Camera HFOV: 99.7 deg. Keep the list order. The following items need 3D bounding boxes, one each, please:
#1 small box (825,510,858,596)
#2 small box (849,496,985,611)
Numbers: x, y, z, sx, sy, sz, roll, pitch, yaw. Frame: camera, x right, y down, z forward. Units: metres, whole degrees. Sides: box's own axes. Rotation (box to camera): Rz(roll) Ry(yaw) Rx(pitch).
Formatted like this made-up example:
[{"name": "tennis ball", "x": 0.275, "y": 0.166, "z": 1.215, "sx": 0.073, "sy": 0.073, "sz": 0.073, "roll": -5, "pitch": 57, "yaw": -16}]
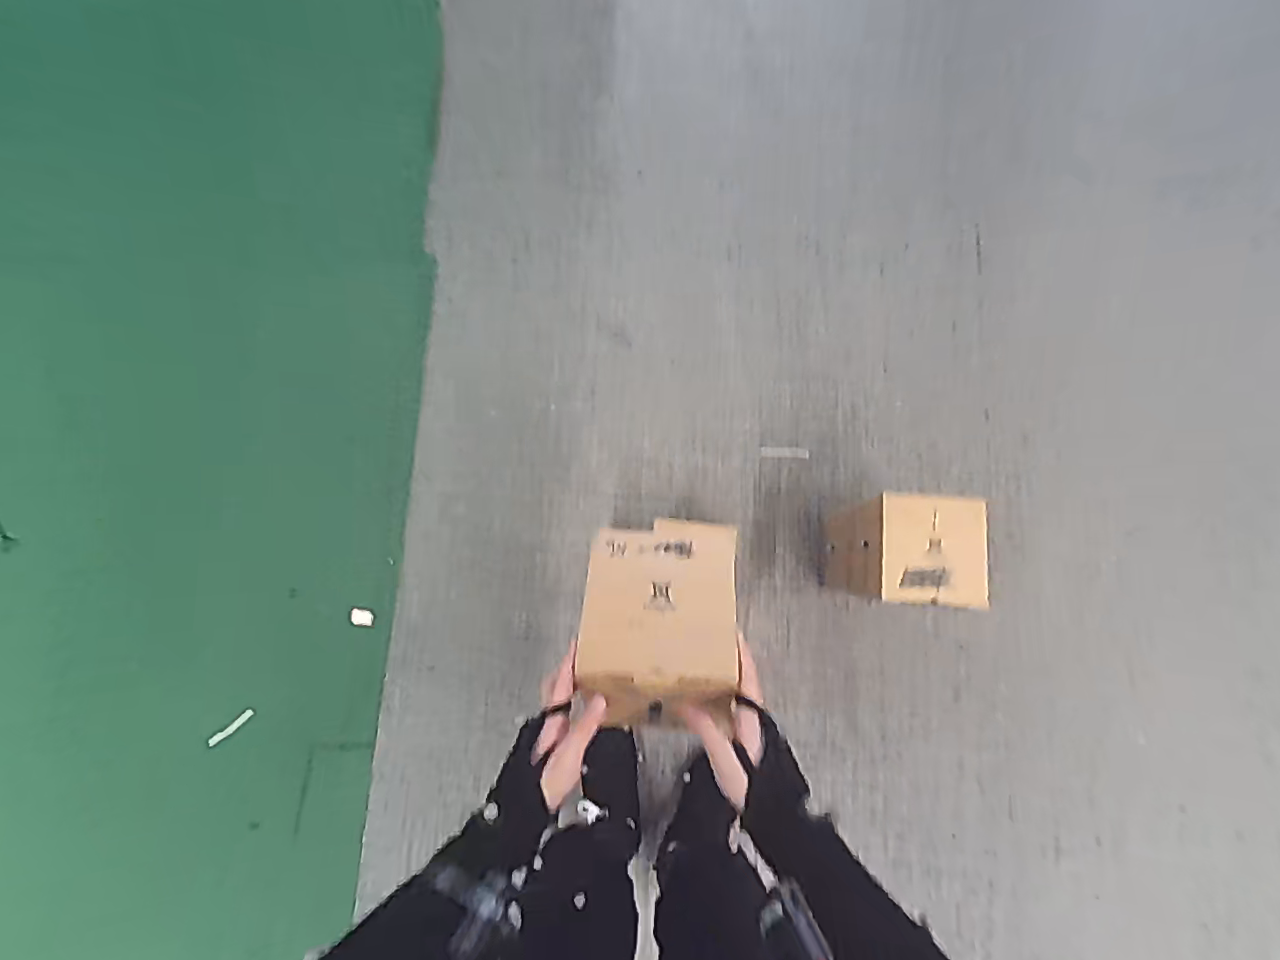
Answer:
[{"name": "small box", "x": 0.489, "y": 0.159, "z": 1.119, "sx": 0.179, "sy": 0.176, "sz": 0.168, "roll": 3, "pitch": 80, "yaw": 5}, {"name": "small box", "x": 0.480, "y": 0.132, "z": 0.957, "sx": 0.168, "sy": 0.176, "sz": 0.179, "roll": 4, "pitch": 79, "yaw": 5}]
